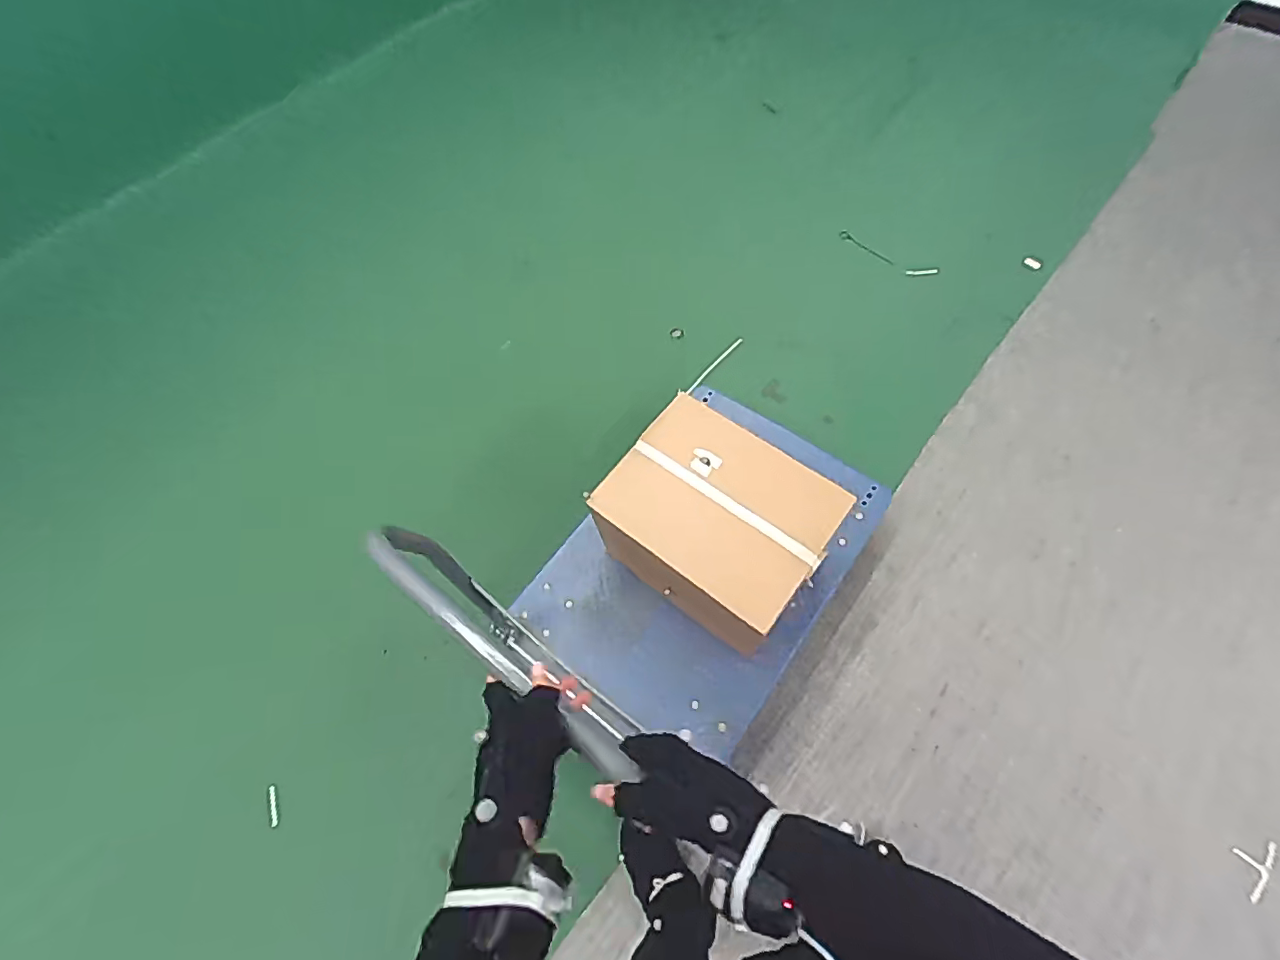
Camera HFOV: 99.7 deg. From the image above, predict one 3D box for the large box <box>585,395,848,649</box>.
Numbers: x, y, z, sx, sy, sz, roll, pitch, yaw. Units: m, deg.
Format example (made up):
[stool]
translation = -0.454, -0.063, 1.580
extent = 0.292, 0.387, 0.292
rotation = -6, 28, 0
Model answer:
[large box]
translation = 0.155, 0.099, 1.153
extent = 0.408, 0.320, 0.320
rotation = 35, 72, 20
